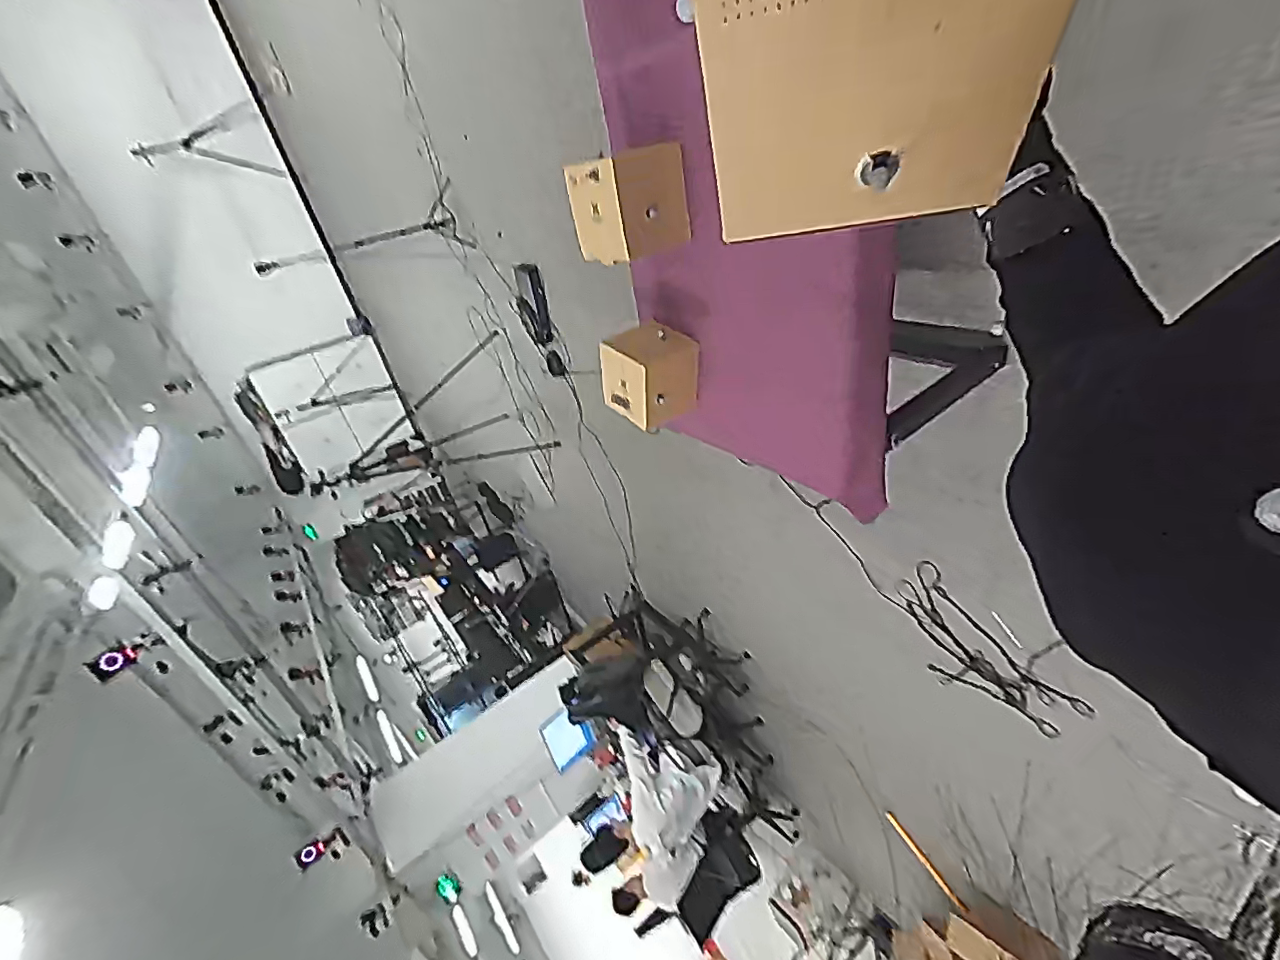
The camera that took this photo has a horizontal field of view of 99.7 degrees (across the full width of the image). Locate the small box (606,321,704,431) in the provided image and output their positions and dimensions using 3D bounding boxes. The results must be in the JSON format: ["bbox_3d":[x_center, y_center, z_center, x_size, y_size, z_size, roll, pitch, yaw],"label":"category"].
[{"bbox_3d":[0.039,-0.252,1.292,0.168,0.176,0.179,37,145,36],"label":"small box"}]

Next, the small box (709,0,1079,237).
[{"bbox_3d":[0.135,-0.282,0.320,0.176,0.179,0.168,59,-148,-62],"label":"small box"}]

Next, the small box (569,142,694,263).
[{"bbox_3d":[-0.011,-0.547,1.075,0.168,0.176,0.179,26,140,46],"label":"small box"}]
